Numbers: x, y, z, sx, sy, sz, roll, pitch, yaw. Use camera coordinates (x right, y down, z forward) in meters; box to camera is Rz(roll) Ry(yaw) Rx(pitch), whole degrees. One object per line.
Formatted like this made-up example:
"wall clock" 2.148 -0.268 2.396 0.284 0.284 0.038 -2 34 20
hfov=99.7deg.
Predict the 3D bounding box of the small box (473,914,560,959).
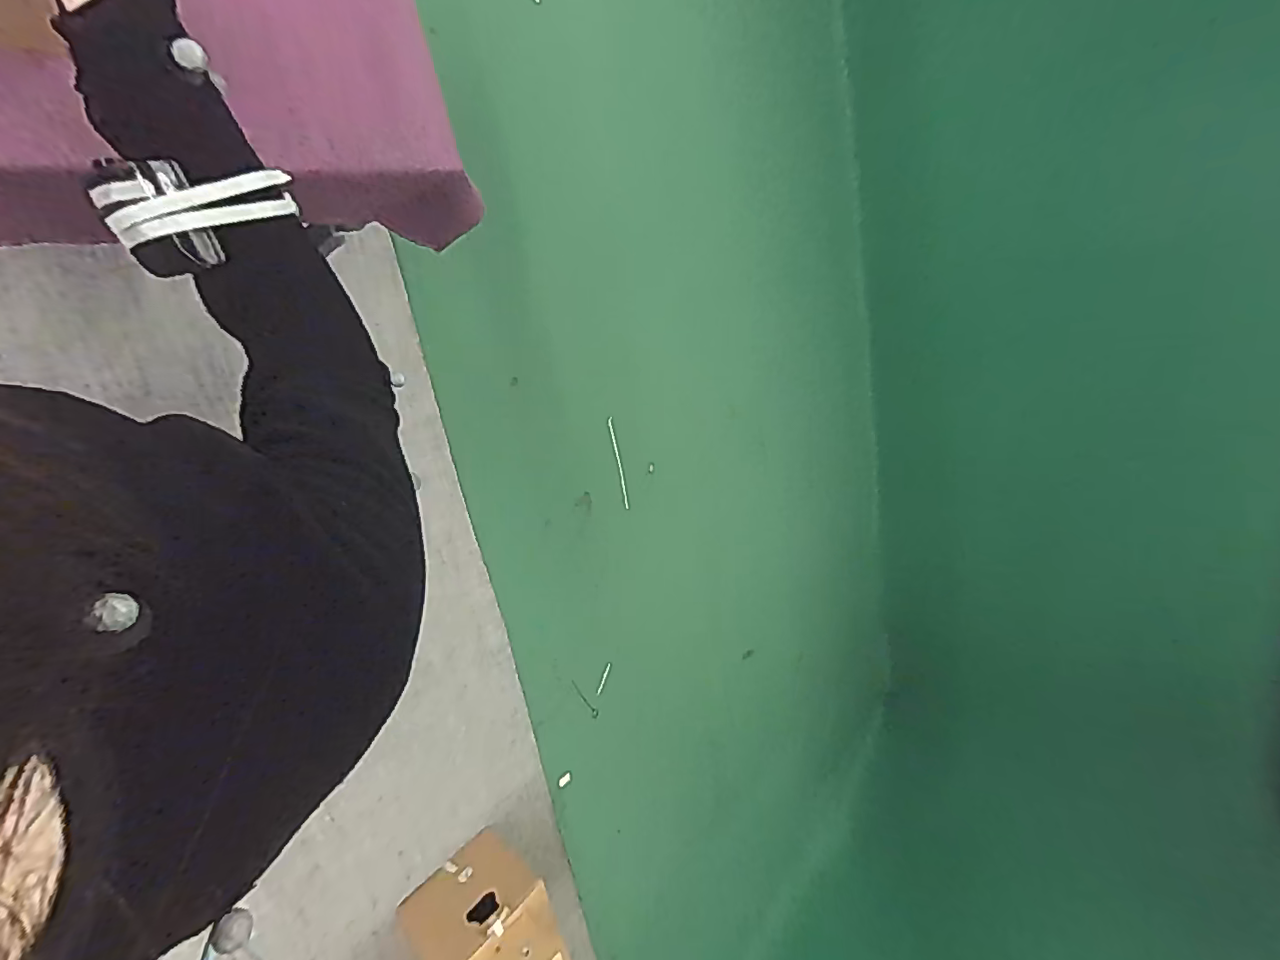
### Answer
"small box" -0.319 1.307 1.428 0.168 0.176 0.179 -22 110 -42

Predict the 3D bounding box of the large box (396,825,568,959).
"large box" -0.470 1.369 1.631 0.320 0.320 0.408 -27 113 -42
